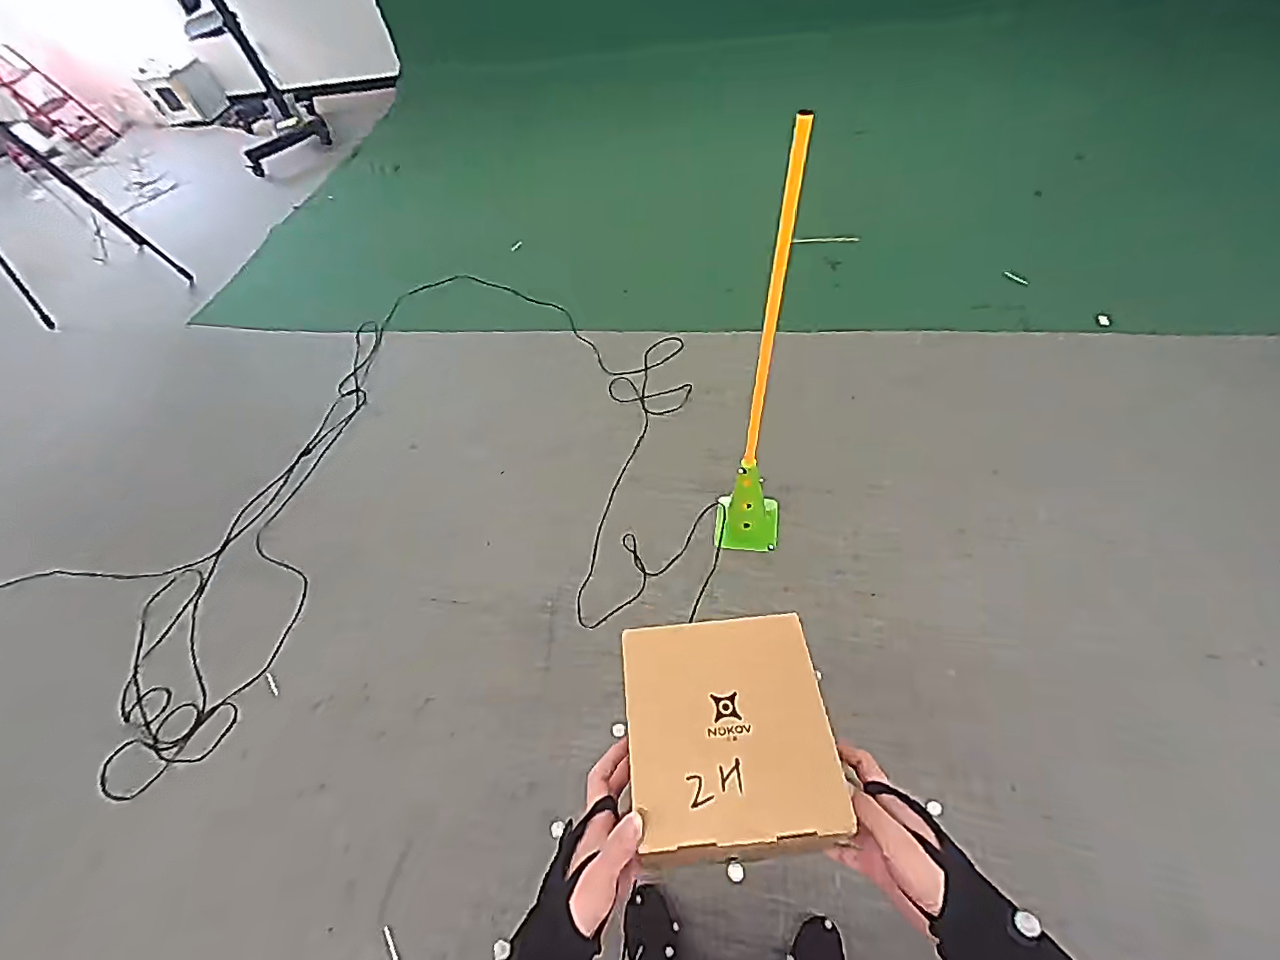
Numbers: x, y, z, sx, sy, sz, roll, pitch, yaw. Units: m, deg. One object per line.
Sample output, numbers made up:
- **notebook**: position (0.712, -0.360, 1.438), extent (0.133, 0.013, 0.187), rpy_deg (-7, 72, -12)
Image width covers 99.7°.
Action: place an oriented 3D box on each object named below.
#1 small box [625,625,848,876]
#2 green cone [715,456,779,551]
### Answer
- **small box**: position (0.073, 0.259, 0.515), extent (0.168, 0.176, 0.179), rpy_deg (-5, 50, 0)
- **green cone**: position (0.331, 0.046, 1.666), extent (0.202, 0.368, 0.200), rpy_deg (3, 56, 13)
